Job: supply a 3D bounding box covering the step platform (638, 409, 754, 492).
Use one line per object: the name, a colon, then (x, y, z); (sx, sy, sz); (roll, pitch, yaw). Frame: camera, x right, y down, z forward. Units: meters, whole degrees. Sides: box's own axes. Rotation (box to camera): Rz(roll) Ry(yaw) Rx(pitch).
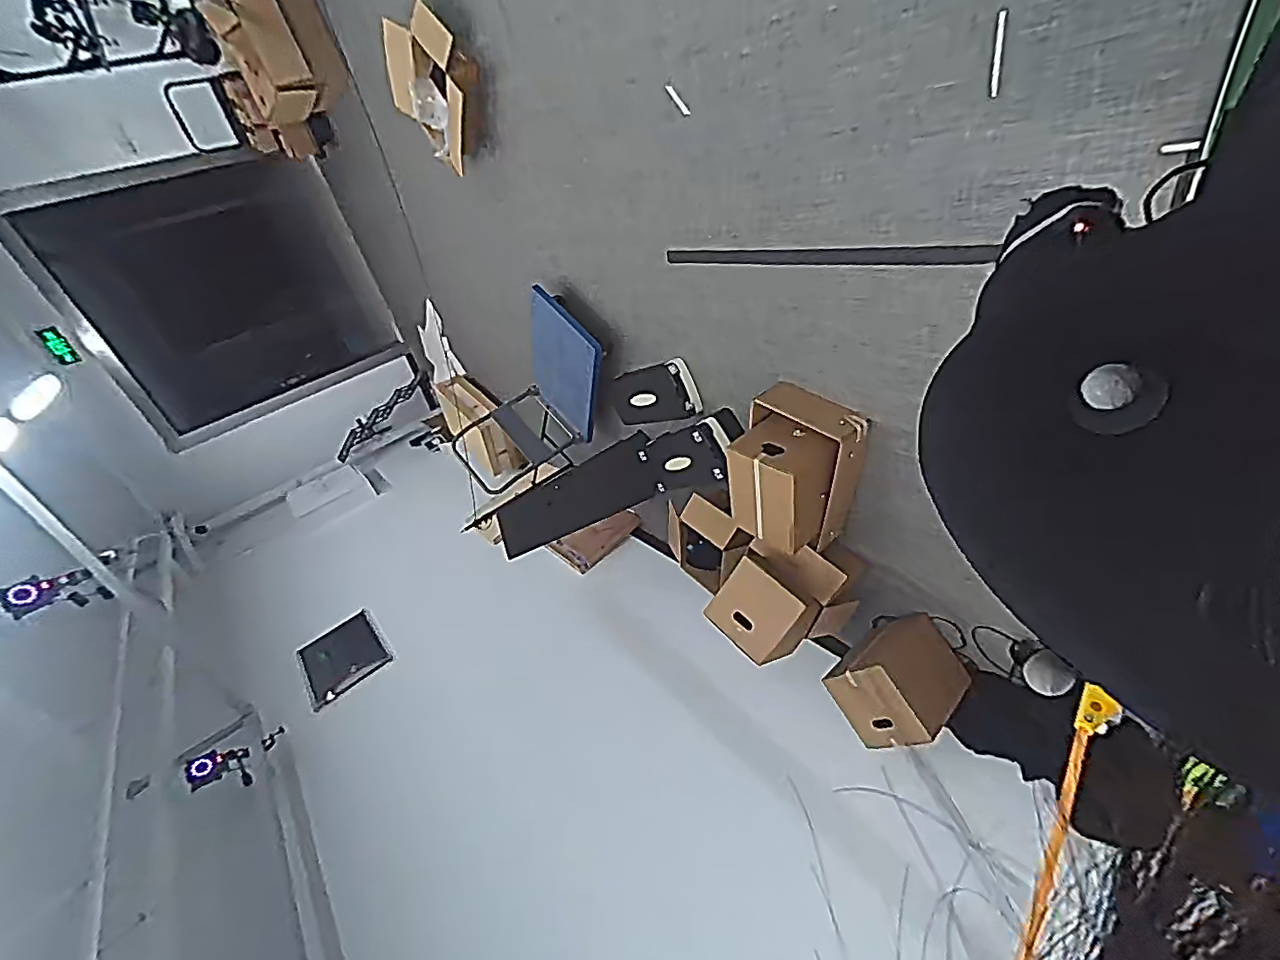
step platform: (0.254, -0.127, 2.722); (0.286, 0.204, 0.684); (60, 153, -7)
